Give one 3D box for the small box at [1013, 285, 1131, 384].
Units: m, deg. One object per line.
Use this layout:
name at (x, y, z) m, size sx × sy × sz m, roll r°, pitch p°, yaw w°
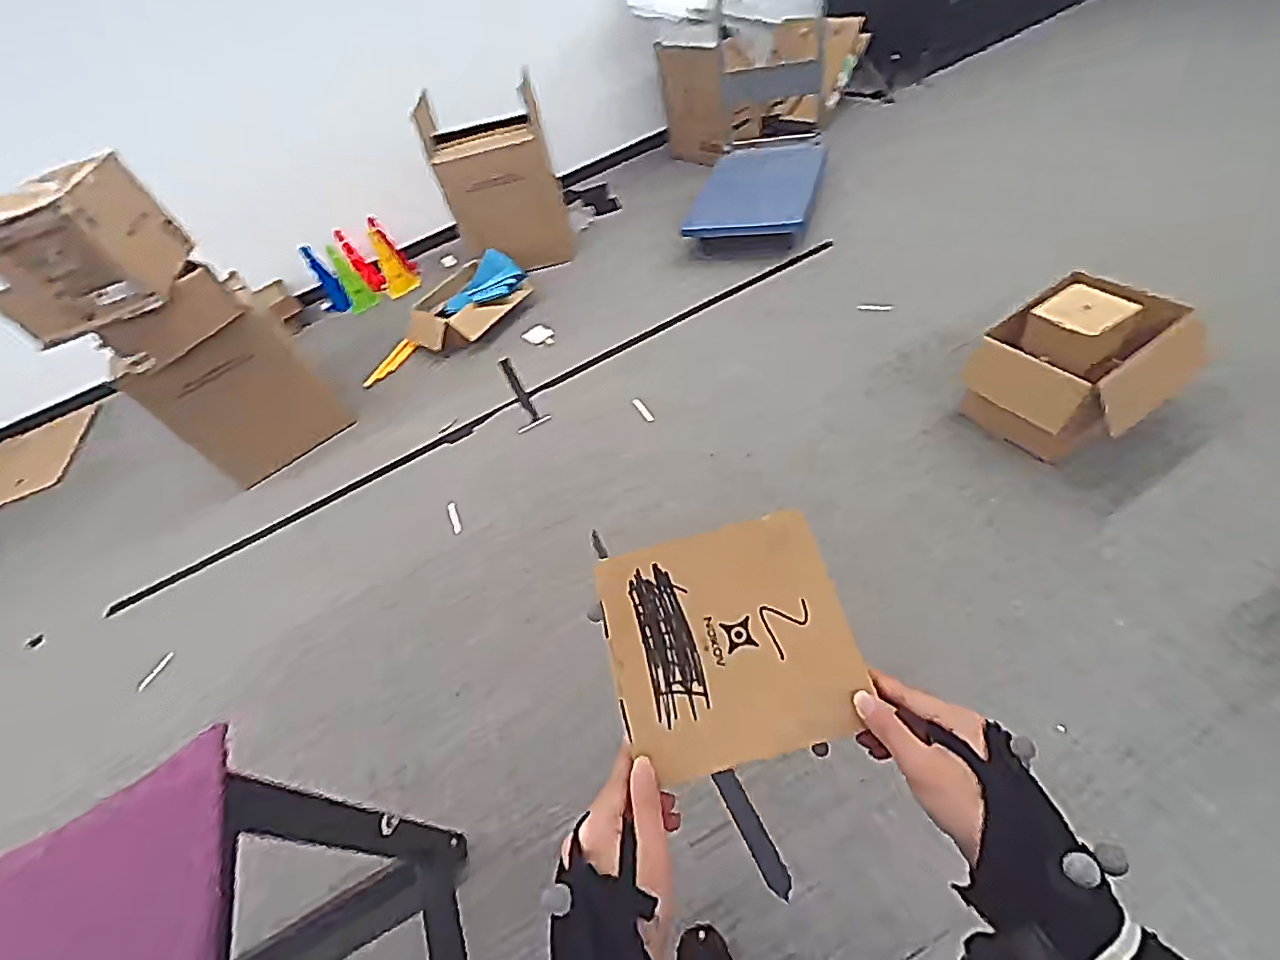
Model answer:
small box at (1.172, -0.397, 1.486) m, size 0.179 × 0.176 × 0.168 m, roll -31°, pitch 48°, yaw -8°
